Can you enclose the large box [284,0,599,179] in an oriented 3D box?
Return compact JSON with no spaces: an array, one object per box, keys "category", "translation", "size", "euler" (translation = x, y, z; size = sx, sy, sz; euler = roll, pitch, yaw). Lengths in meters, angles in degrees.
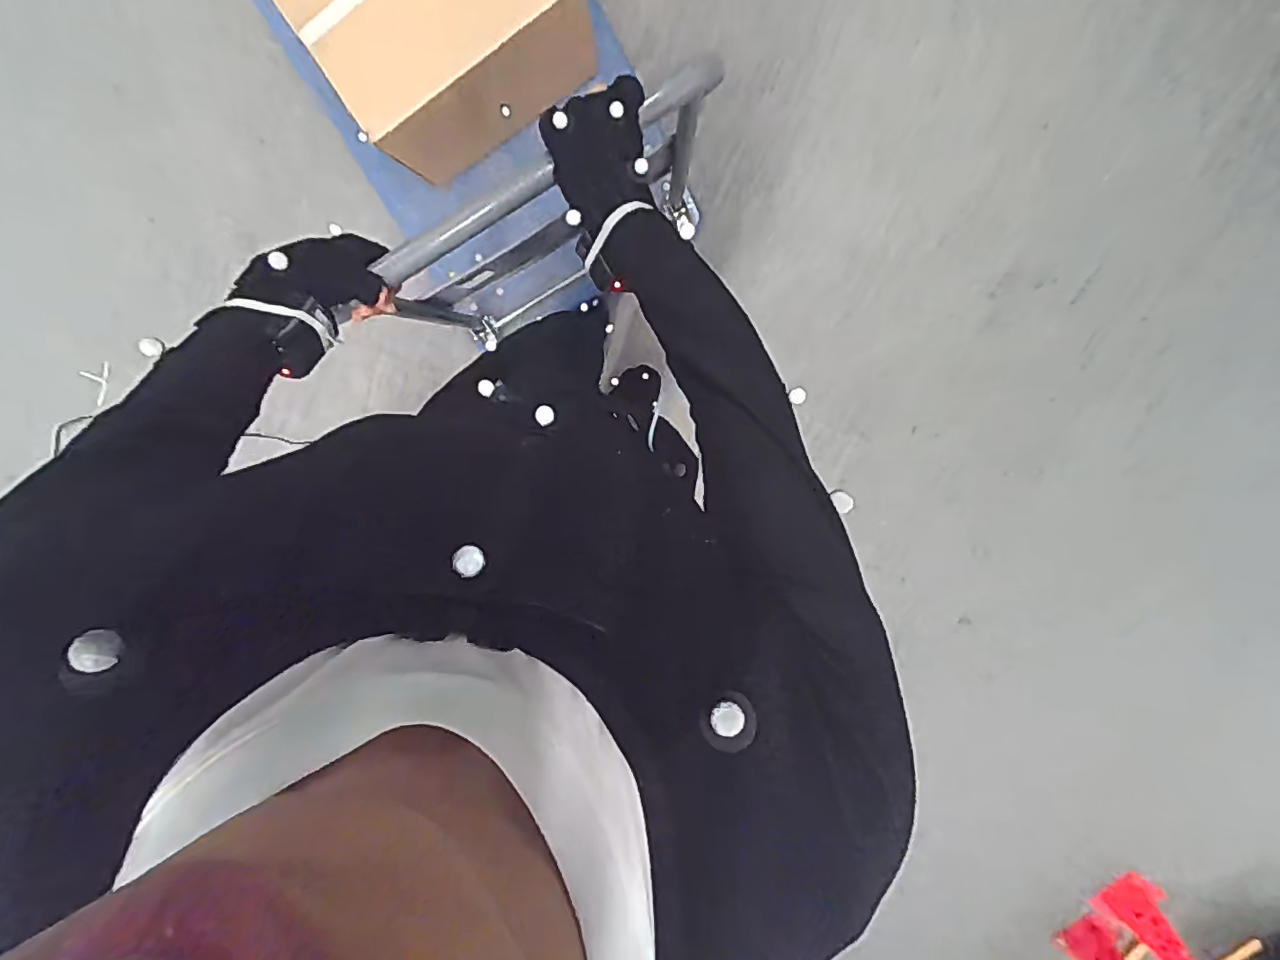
[{"category":"large box","translation":[-0.321,-0.800,0.917],"size":[0.408,0.320,0.320],"euler":[-31,104,9]}]
